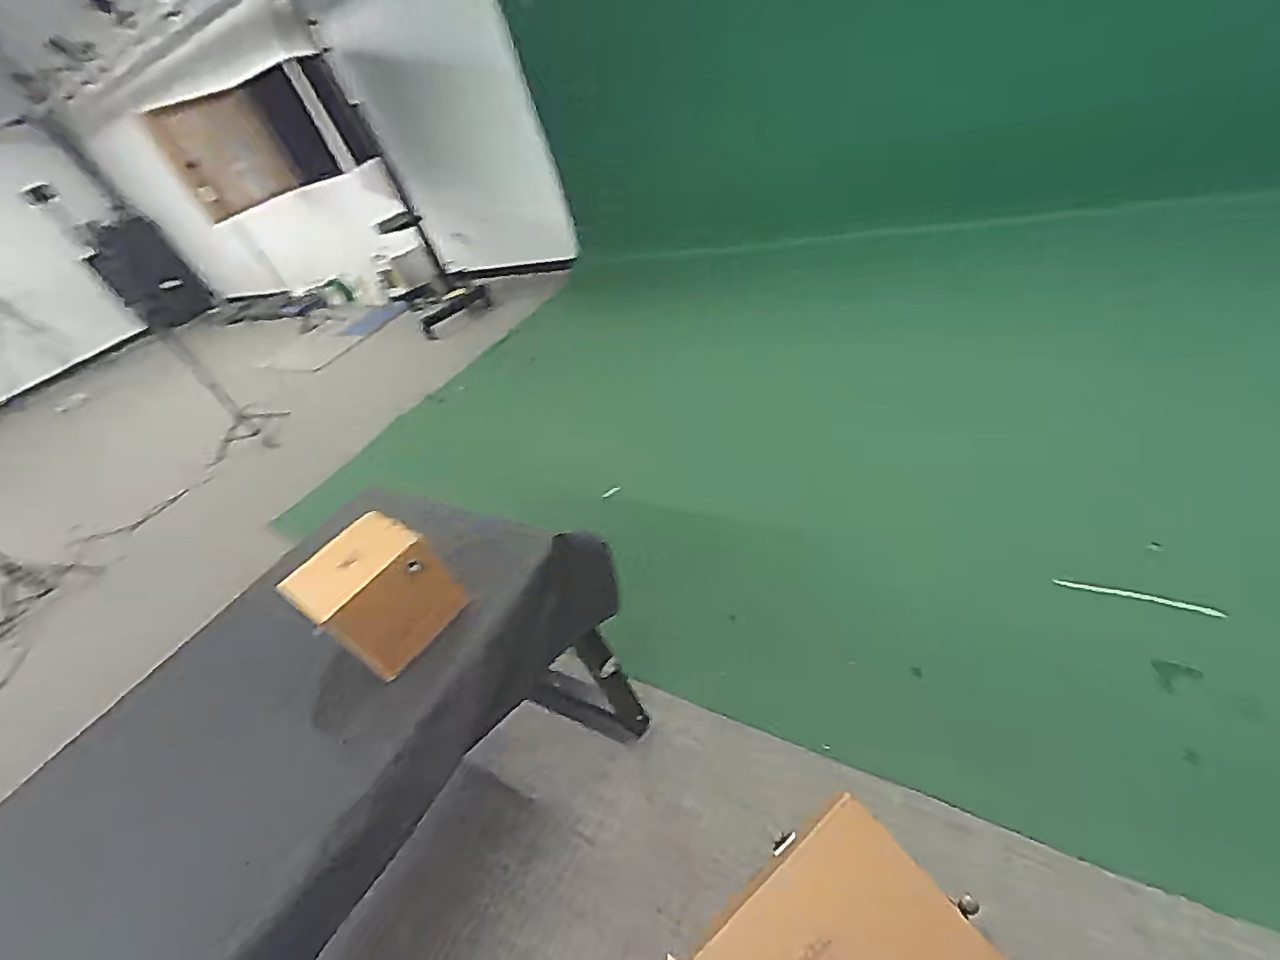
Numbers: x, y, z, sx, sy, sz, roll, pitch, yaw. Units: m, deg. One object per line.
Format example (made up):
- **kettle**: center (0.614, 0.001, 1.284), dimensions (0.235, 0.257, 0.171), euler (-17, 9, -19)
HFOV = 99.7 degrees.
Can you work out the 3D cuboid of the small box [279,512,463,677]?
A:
- **small box**: center (-0.426, 0.186, 0.879), dimensions (0.168, 0.176, 0.179), euler (15, 50, 37)
